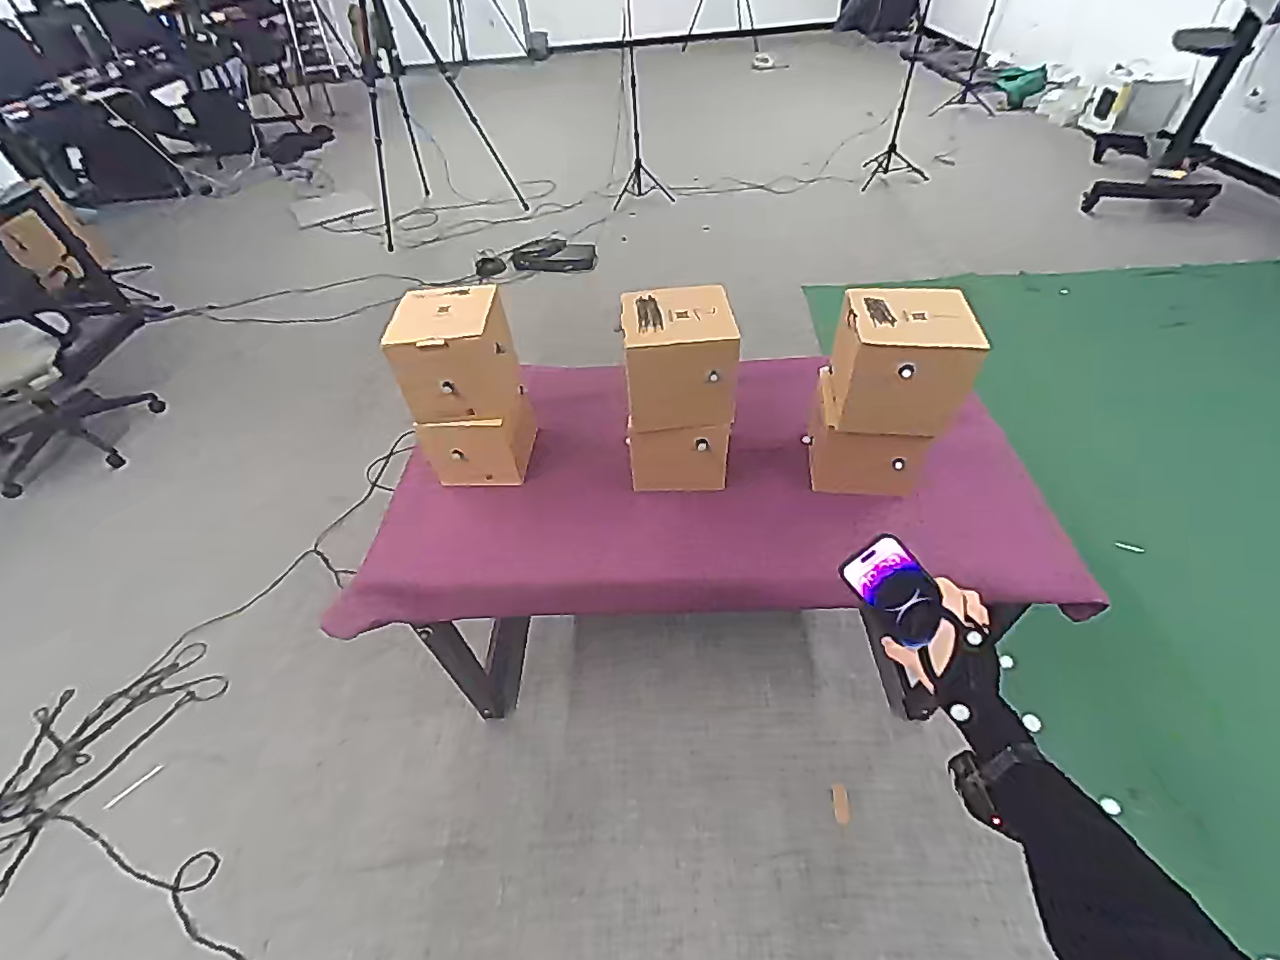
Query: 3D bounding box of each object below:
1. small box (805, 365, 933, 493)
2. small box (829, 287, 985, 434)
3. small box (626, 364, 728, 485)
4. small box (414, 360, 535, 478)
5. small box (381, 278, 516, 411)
[{"bbox_3d":[0.410,-0.091,0.999,0.179,0.176,0.168,4,48,9],"label":"small box"},{"bbox_3d":[0.408,-0.190,0.867,0.179,0.176,0.168,5,48,8],"label":"small box"},{"bbox_3d":[0.072,-0.103,1.034,0.179,0.176,0.168,0,48,5],"label":"small box"},{"bbox_3d":[-0.316,-0.119,1.080,0.168,0.176,0.179,1,48,5],"label":"small box"},{"bbox_3d":[-0.326,-0.235,0.965,0.168,0.176,0.179,-3,48,1],"label":"small box"}]
